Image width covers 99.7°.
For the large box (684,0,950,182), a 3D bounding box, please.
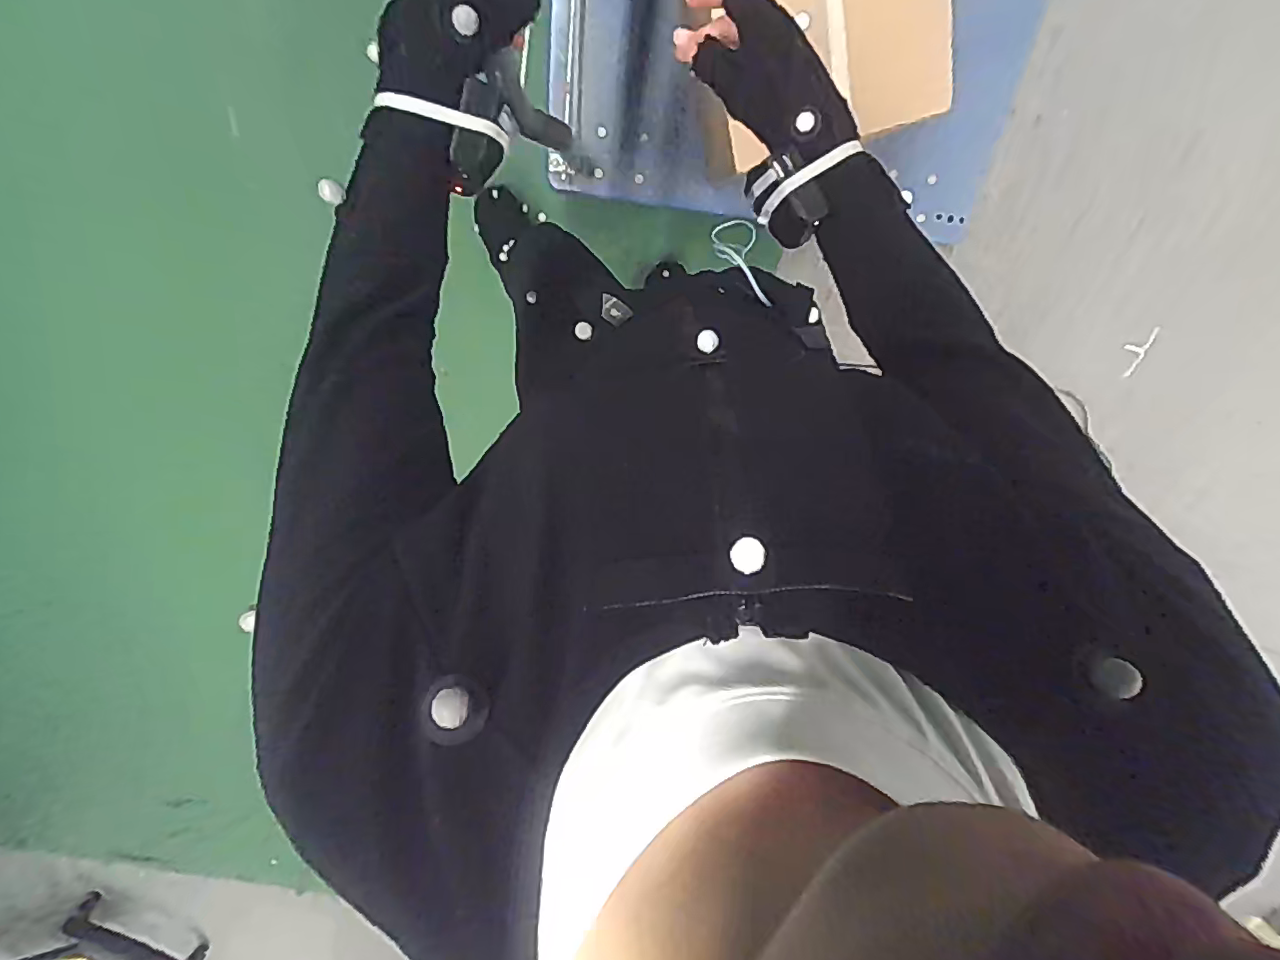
[{"bbox_3d":[0.245,-0.737,0.844,0.320,0.320,0.408,-13,114,7],"label":"large box"}]
